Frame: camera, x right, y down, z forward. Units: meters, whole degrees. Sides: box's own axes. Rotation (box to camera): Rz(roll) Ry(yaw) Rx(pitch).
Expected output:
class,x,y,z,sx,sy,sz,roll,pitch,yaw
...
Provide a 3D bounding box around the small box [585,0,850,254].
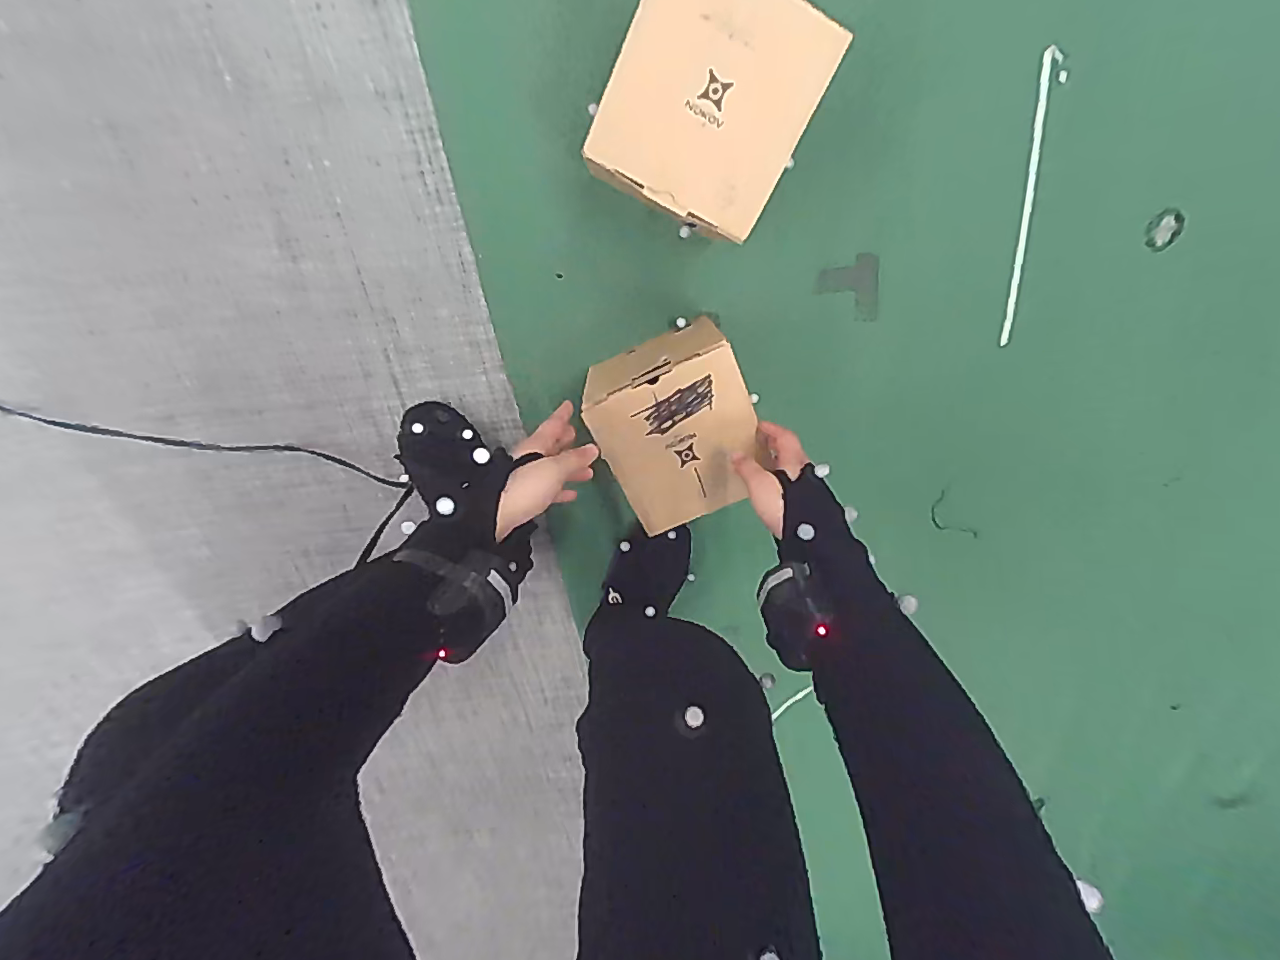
class,x,y,z,sx,sy,sz,roll,pitch,yaw
small box,0.060,-0.342,0.523,0.168,0.176,0.179,23,111,-13

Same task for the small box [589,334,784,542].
class,x,y,z,sx,sy,sz,roll,pitch,yaw
small box,0.049,-0.062,0.650,0.168,0.176,0.179,-23,115,8
